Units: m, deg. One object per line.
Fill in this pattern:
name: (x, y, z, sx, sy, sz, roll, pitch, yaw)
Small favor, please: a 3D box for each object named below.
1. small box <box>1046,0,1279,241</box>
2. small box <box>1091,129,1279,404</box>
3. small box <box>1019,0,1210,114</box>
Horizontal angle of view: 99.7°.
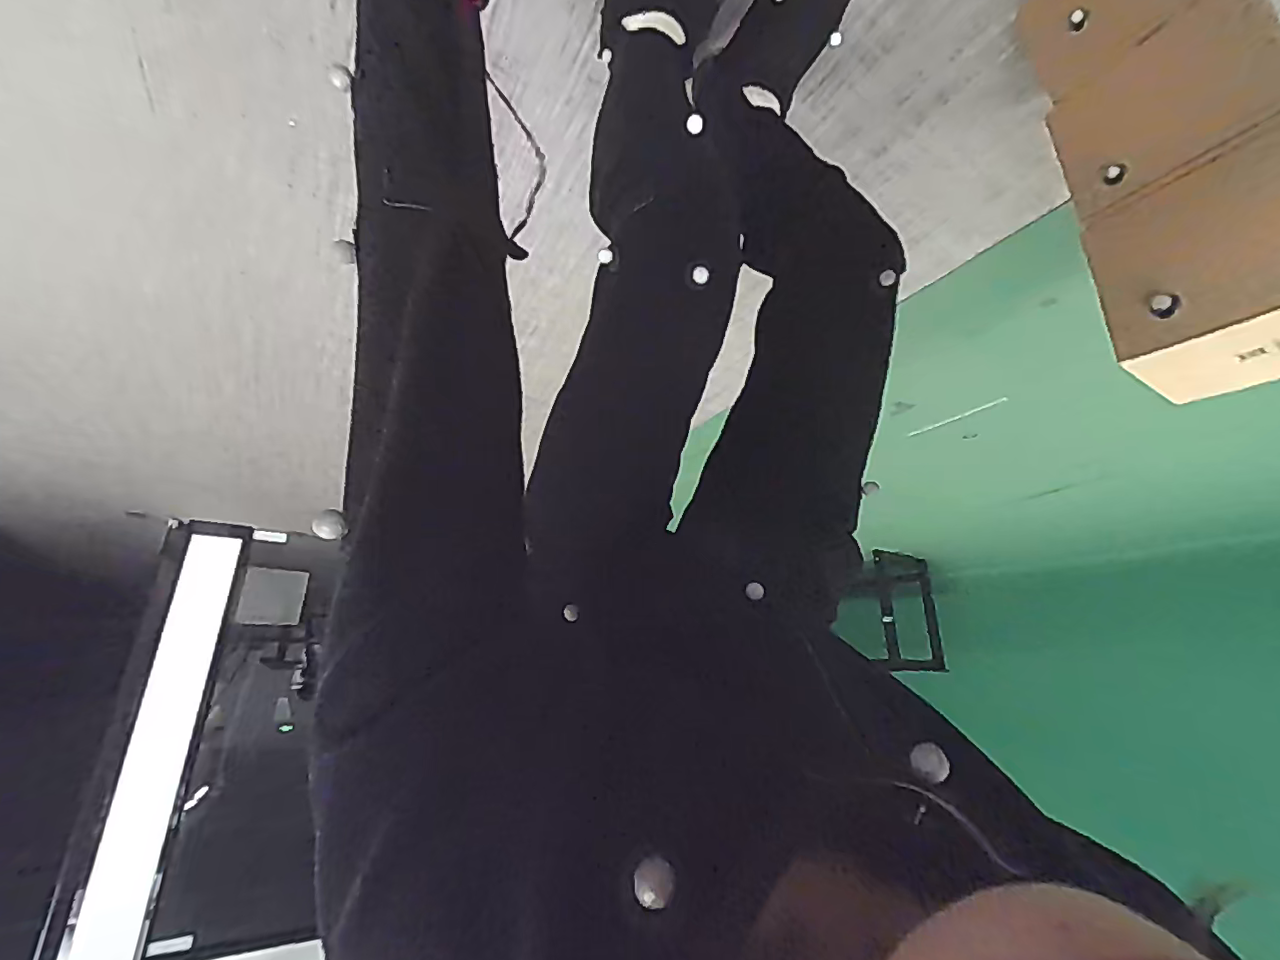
small box: (0.586, -0.362, 0.581, 0.168, 0.176, 0.179, 12, 158, -29)
small box: (0.592, -0.202, 0.540, 0.168, 0.176, 0.179, 12, 158, -30)
small box: (0.583, -0.515, 0.632, 0.179, 0.176, 0.168, 13, 156, -32)
